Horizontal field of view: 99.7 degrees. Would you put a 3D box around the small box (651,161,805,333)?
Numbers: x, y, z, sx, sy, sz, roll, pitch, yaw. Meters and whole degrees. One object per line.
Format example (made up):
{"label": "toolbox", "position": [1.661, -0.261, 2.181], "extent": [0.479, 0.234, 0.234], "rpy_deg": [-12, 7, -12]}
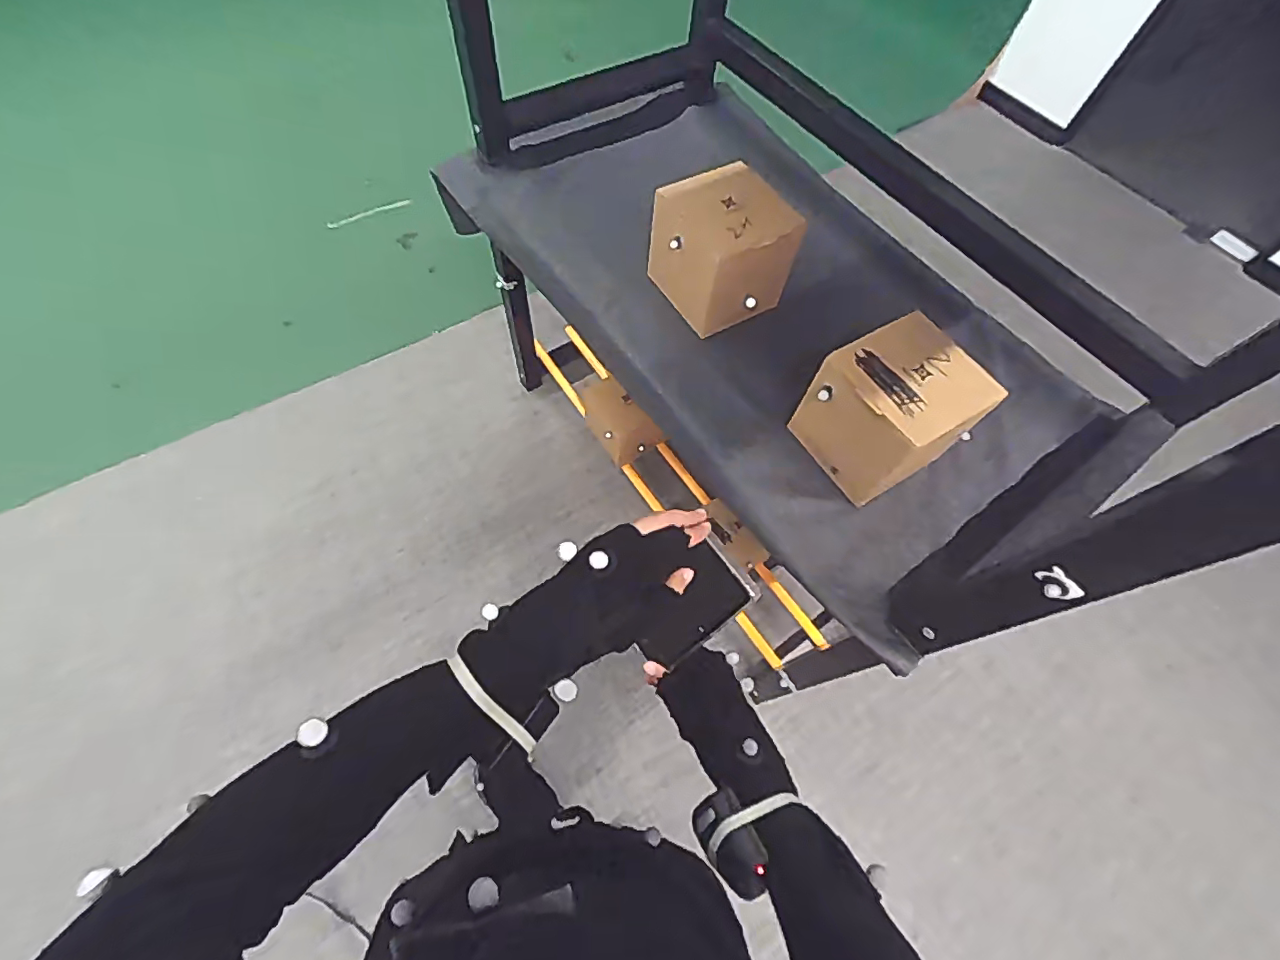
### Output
{"label": "small box", "position": [0.132, -0.380, 0.893], "extent": [0.168, 0.176, 0.179], "rpy_deg": [-28, 69, -17]}

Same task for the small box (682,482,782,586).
{"label": "small box", "position": [0.216, 0.139, 1.336], "extent": [0.179, 0.176, 0.168], "rpy_deg": [-28, 69, -16]}
